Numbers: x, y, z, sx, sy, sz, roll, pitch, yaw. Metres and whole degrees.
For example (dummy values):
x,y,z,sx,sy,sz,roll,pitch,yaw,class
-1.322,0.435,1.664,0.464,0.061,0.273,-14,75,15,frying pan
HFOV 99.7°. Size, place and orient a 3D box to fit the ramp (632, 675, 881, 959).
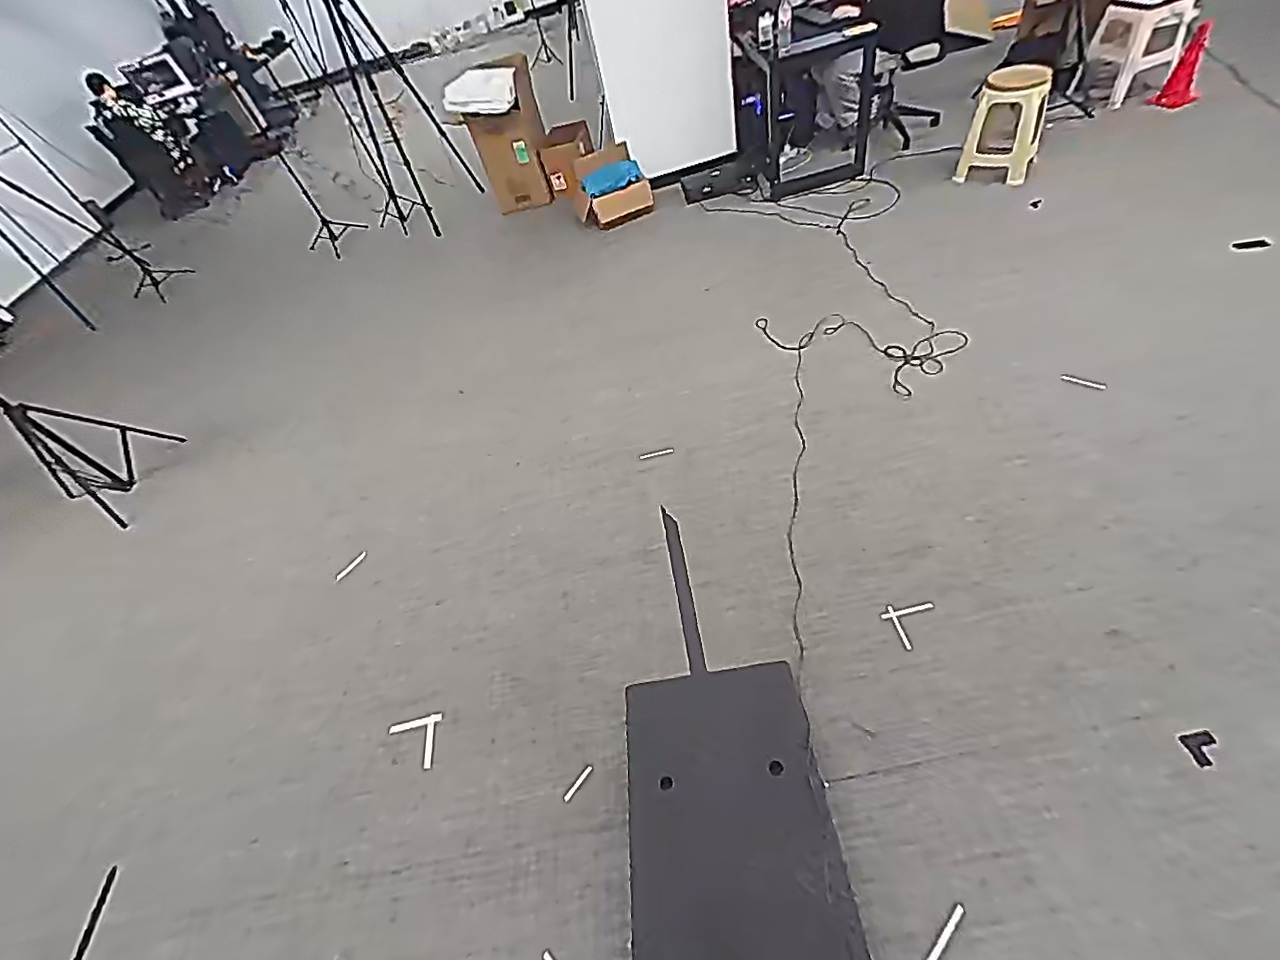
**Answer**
x,y,z,sx,sy,sz,roll,pitch,yaw,class
0.237,0.927,1.213,0.509,0.206,0.991,-15,46,5,ramp
